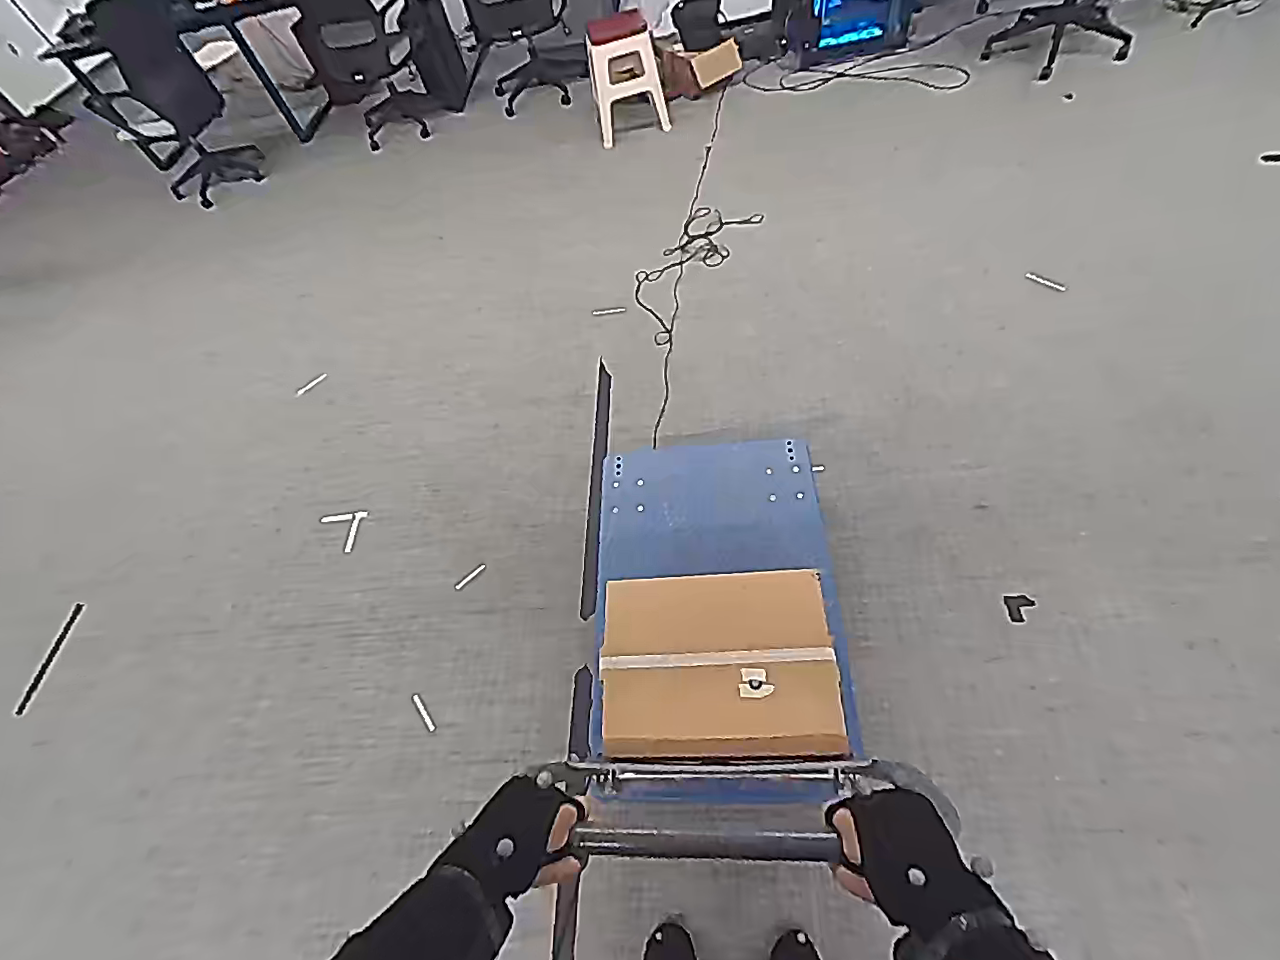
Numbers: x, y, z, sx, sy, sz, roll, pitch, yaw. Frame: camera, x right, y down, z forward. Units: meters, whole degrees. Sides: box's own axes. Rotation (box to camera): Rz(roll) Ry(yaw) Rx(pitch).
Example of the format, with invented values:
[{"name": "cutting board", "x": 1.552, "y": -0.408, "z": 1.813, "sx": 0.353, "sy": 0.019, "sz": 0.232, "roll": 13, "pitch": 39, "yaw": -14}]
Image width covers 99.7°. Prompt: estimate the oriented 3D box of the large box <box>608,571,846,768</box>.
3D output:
[{"name": "large box", "x": 0.159, "y": 0.398, "z": 1.100, "sx": 0.408, "sy": 0.320, "sz": 0.320, "roll": -5, "pitch": 60, "yaw": 8}]
